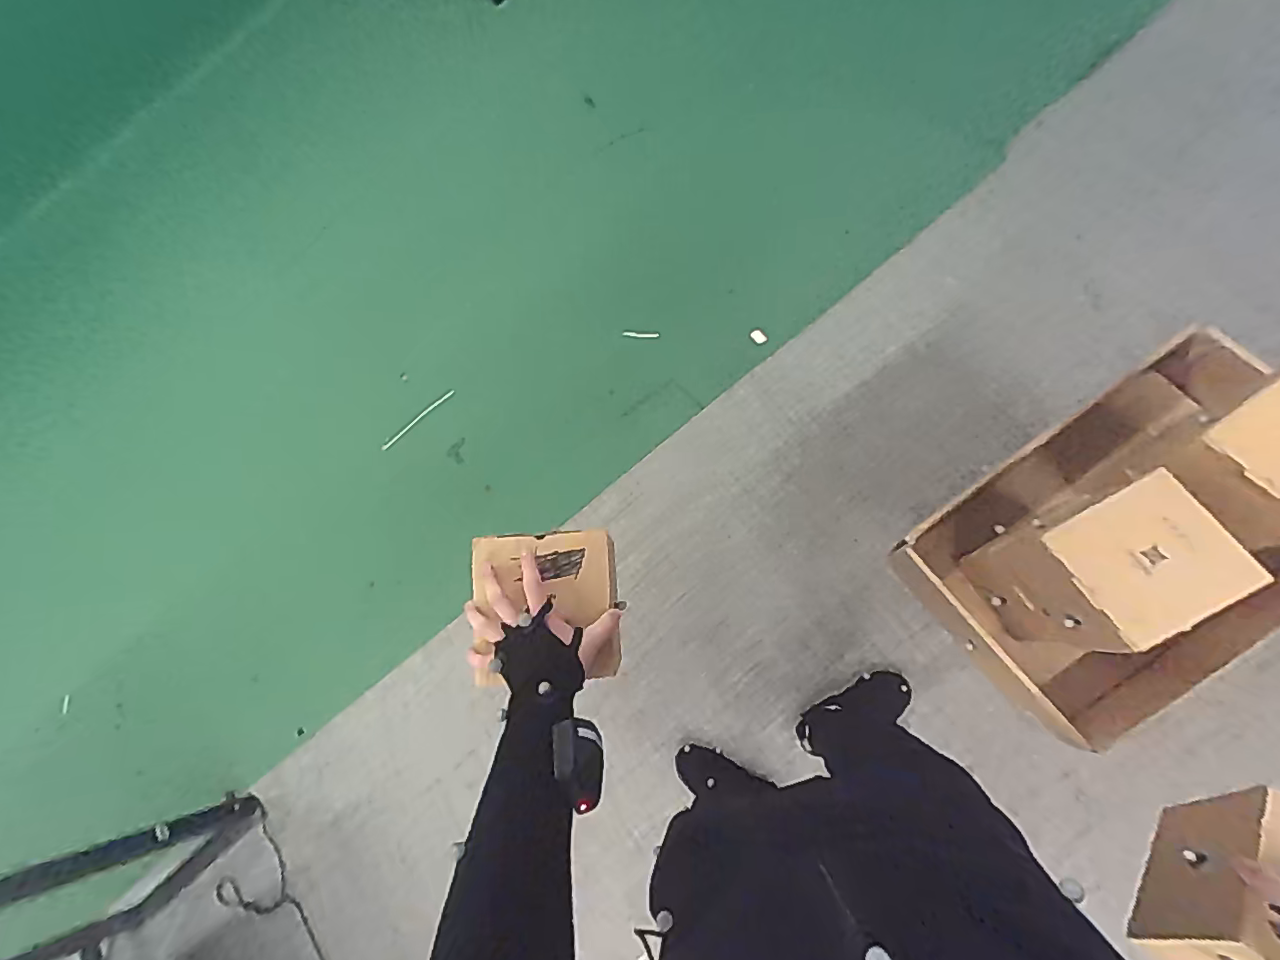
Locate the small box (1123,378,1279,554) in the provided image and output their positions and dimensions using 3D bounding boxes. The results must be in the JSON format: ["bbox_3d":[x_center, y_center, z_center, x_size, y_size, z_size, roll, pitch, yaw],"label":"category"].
[{"bbox_3d":[0.836,-0.017,0.739,0.179,0.176,0.168,-38,71,3],"label":"small box"}]

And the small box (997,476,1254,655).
[{"bbox_3d":[0.635,0.124,0.745,0.179,0.176,0.168,-30,71,3],"label":"small box"}]

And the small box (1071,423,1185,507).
[{"bbox_3d":[0.877,0.022,0.890,0.179,0.176,0.168,-37,69,2],"label":"small box"}]

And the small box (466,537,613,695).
[{"bbox_3d":[-0.126,0.178,0.725,0.168,0.176,0.179,-5,78,0],"label":"small box"}]
